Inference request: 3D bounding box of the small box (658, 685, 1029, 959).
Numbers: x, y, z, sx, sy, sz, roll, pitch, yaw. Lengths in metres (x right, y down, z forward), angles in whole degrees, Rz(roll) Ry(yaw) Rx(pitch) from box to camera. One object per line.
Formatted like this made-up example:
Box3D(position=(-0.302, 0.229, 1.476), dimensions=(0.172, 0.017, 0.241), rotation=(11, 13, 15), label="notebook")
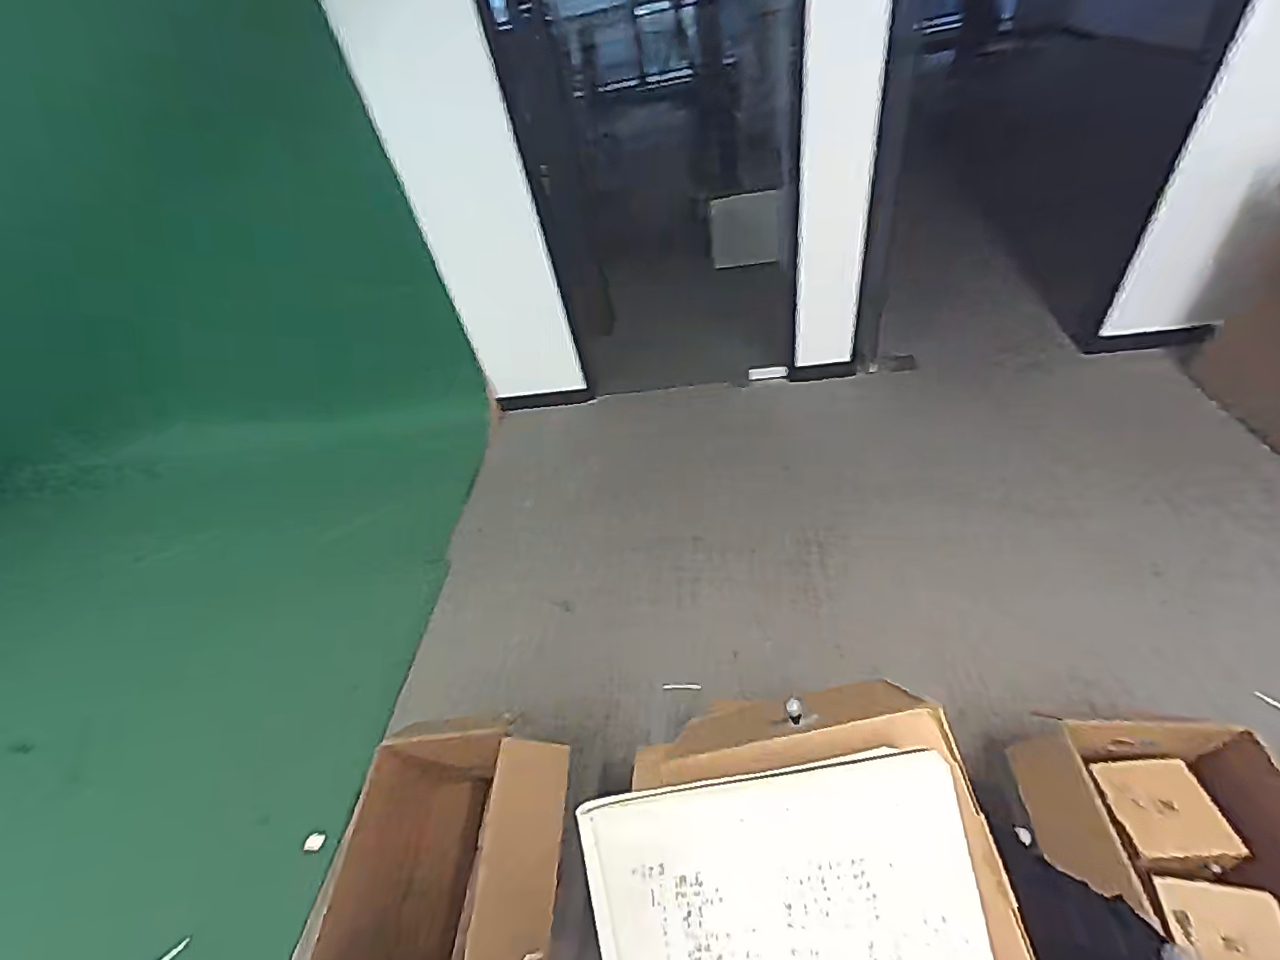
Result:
Box3D(position=(0.123, 0.249, 0.377), dimensions=(0.179, 0.176, 0.168), rotation=(-15, 72, 6), label="small box")
